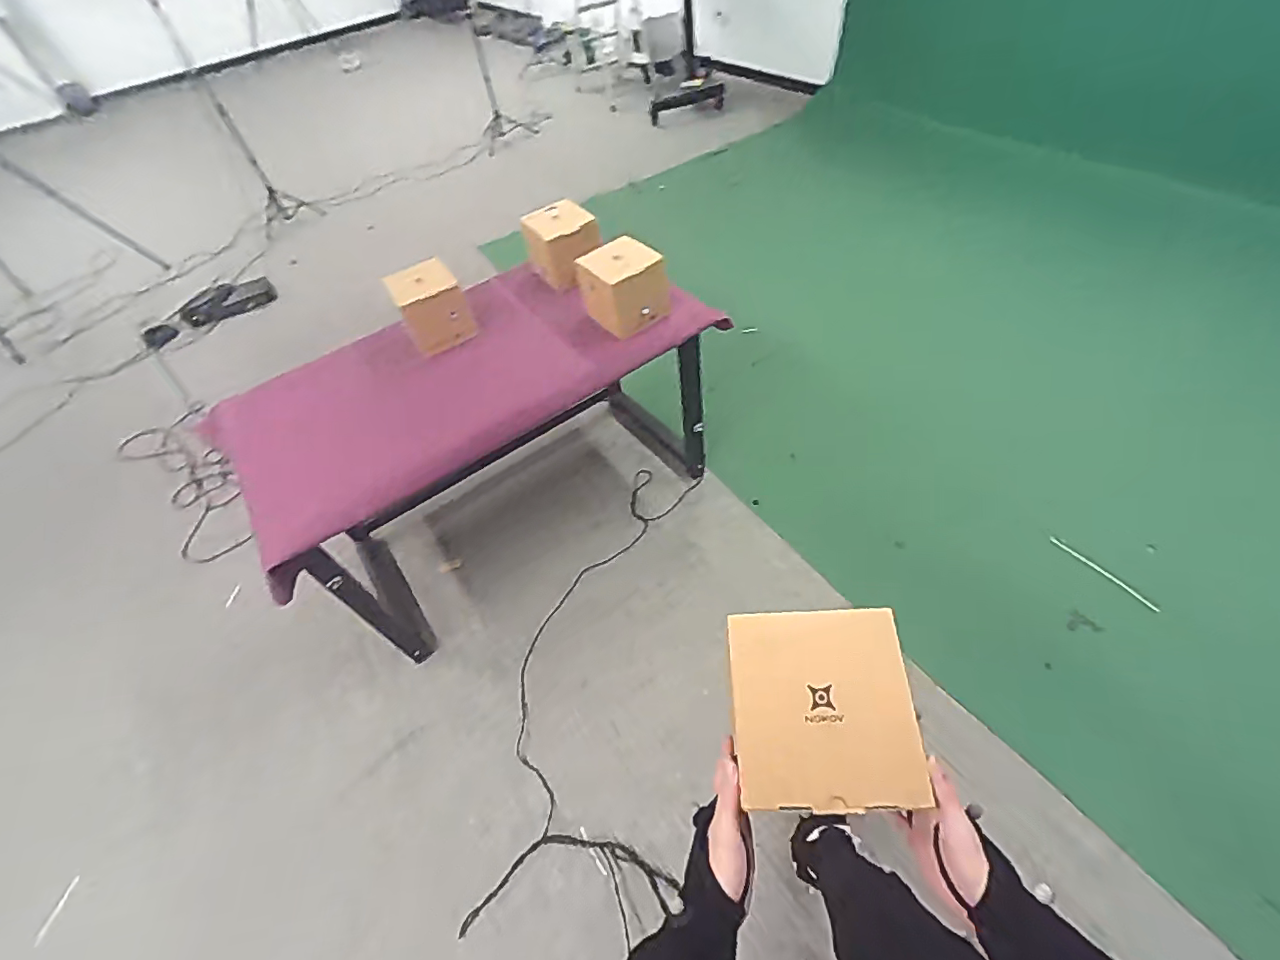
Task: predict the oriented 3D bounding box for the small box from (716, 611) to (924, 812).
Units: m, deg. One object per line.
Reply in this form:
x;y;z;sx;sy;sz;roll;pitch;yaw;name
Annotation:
0.171;0.250;0.582;0.168;0.176;0.179;-4;63;5;small box

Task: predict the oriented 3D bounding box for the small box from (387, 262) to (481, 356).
-0.563;-0.466;1.496;0.168;0.176;0.179;-29;53;-16;small box

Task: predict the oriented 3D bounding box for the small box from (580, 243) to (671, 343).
-0.035;-0.497;1.442;0.168;0.176;0.179;-33;53;-16;small box

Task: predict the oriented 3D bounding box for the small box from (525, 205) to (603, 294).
-0.218;-0.683;1.621;0.168;0.176;0.179;-31;56;-16;small box
